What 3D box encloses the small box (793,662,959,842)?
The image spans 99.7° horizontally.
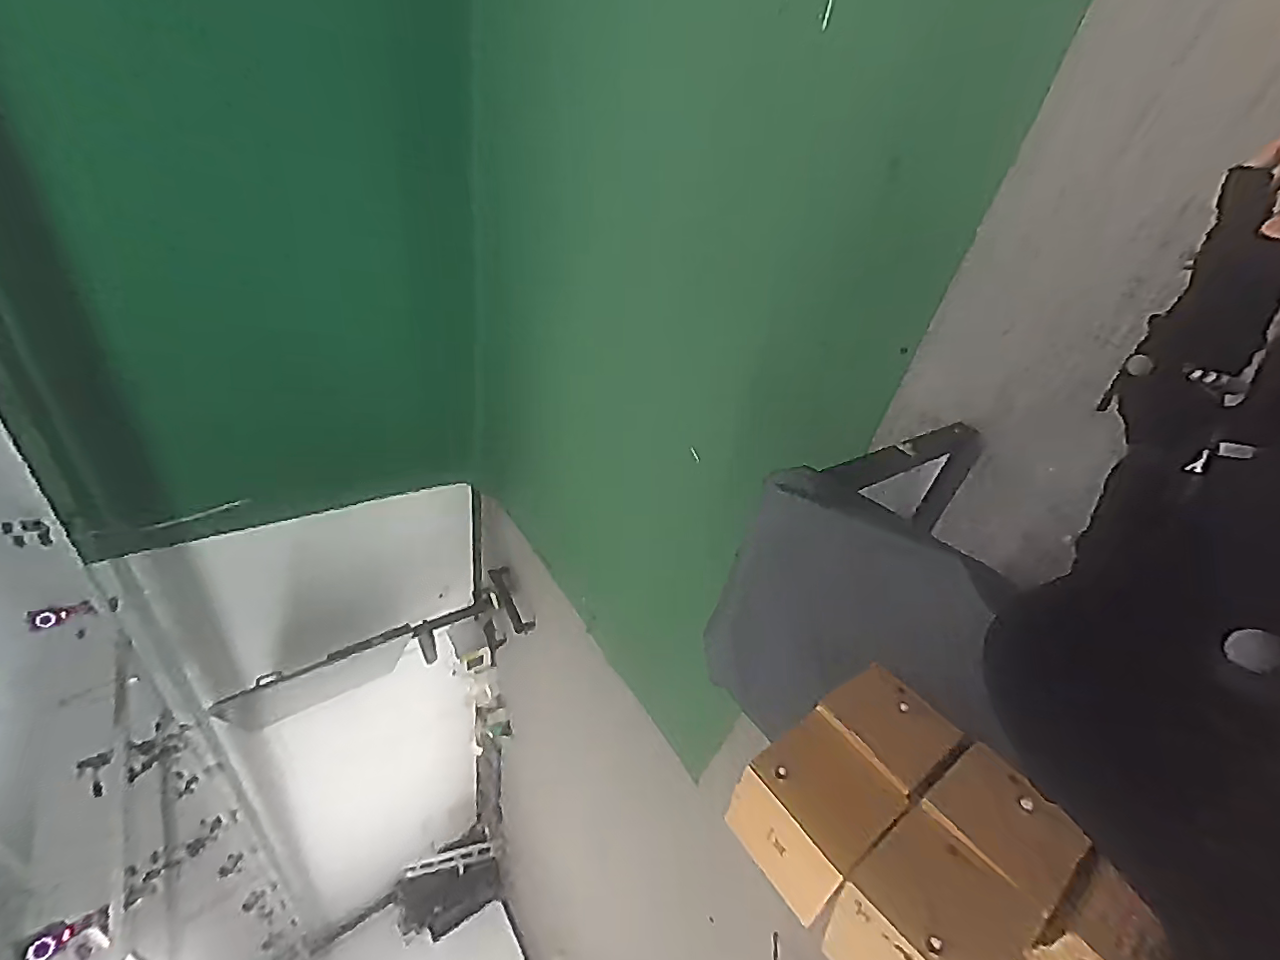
[{"bbox_3d":[0.392,0.445,0.903,0.168,0.176,0.179,40,134,38],"label":"small box"}]
